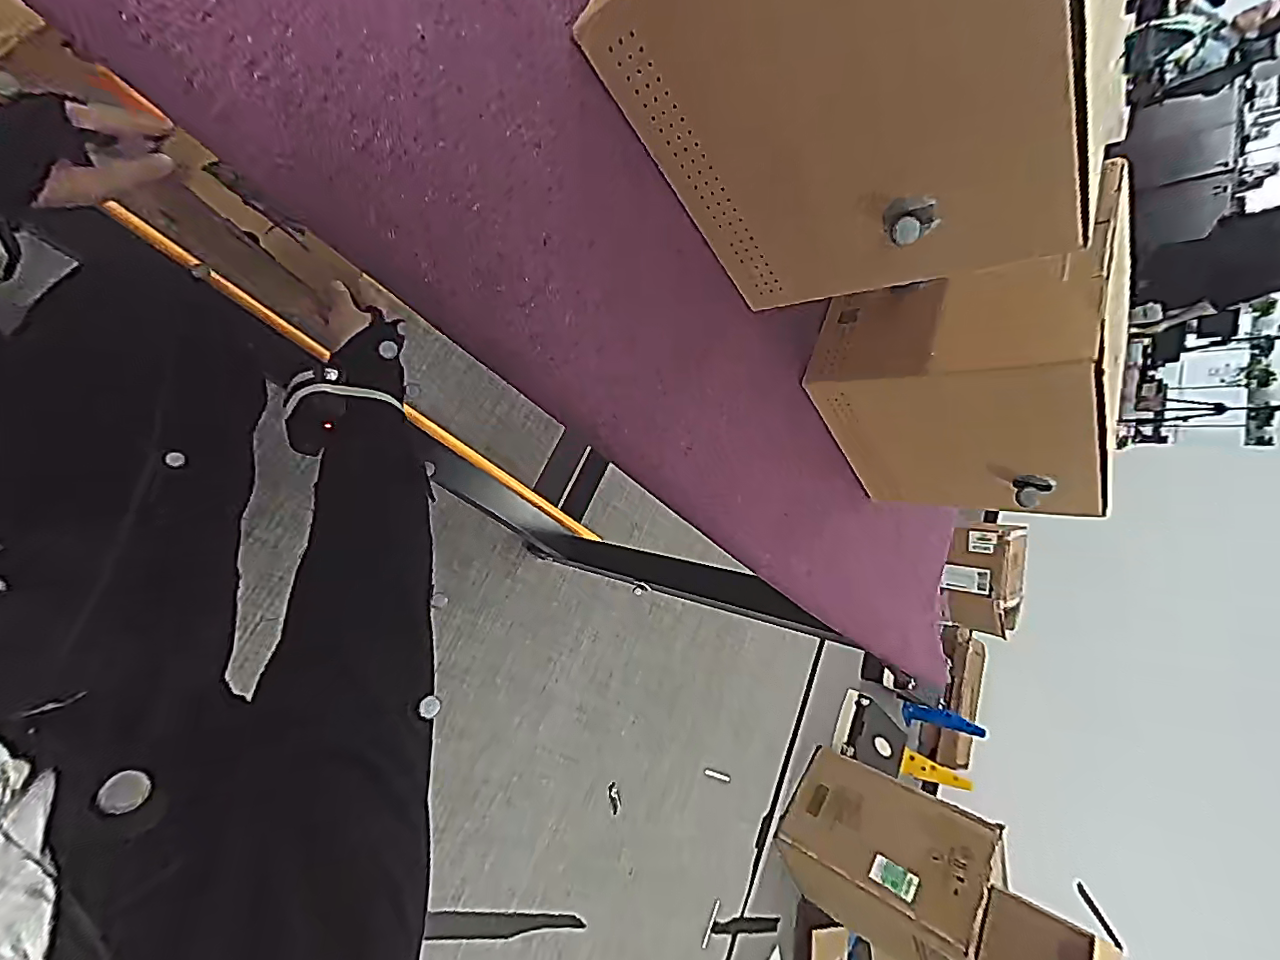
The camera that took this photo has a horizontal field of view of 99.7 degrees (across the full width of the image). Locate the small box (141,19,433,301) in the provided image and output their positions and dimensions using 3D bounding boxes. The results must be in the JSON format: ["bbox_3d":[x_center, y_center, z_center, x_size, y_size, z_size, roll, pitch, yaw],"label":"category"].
[{"bbox_3d":[-0.358,-0.301,0.551,0.168,0.176,0.179,46,66,-44],"label":"small box"}]
